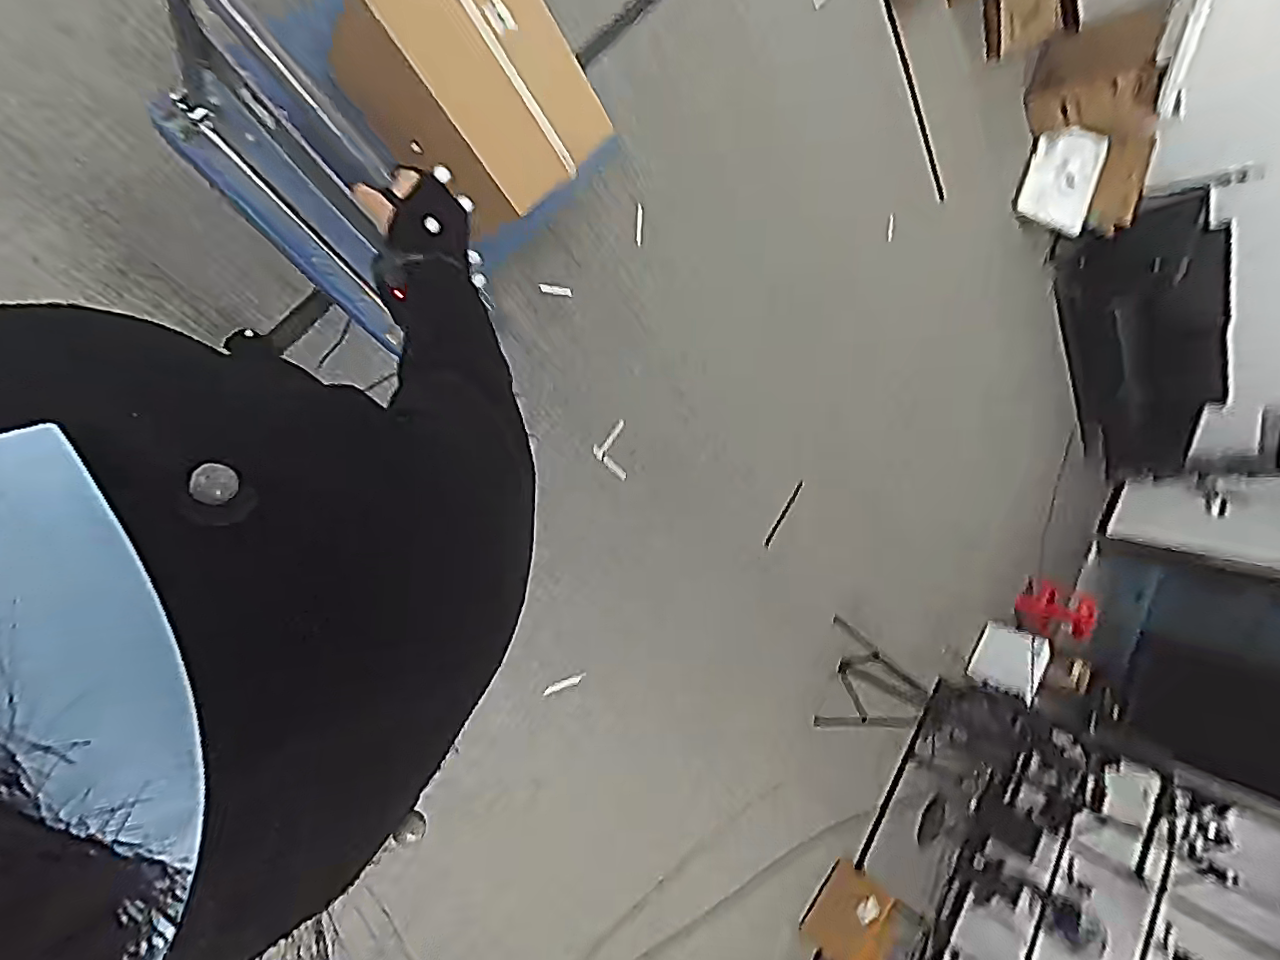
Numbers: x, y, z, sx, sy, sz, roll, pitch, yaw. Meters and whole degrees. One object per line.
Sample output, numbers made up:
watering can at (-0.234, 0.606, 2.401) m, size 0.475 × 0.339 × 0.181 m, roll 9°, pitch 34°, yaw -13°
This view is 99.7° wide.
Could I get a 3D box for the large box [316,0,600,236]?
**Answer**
large box at (-0.367, -0.795, 1.115) m, size 0.320 × 0.320 × 0.408 m, roll -53°, pitch 125°, yaw -18°
